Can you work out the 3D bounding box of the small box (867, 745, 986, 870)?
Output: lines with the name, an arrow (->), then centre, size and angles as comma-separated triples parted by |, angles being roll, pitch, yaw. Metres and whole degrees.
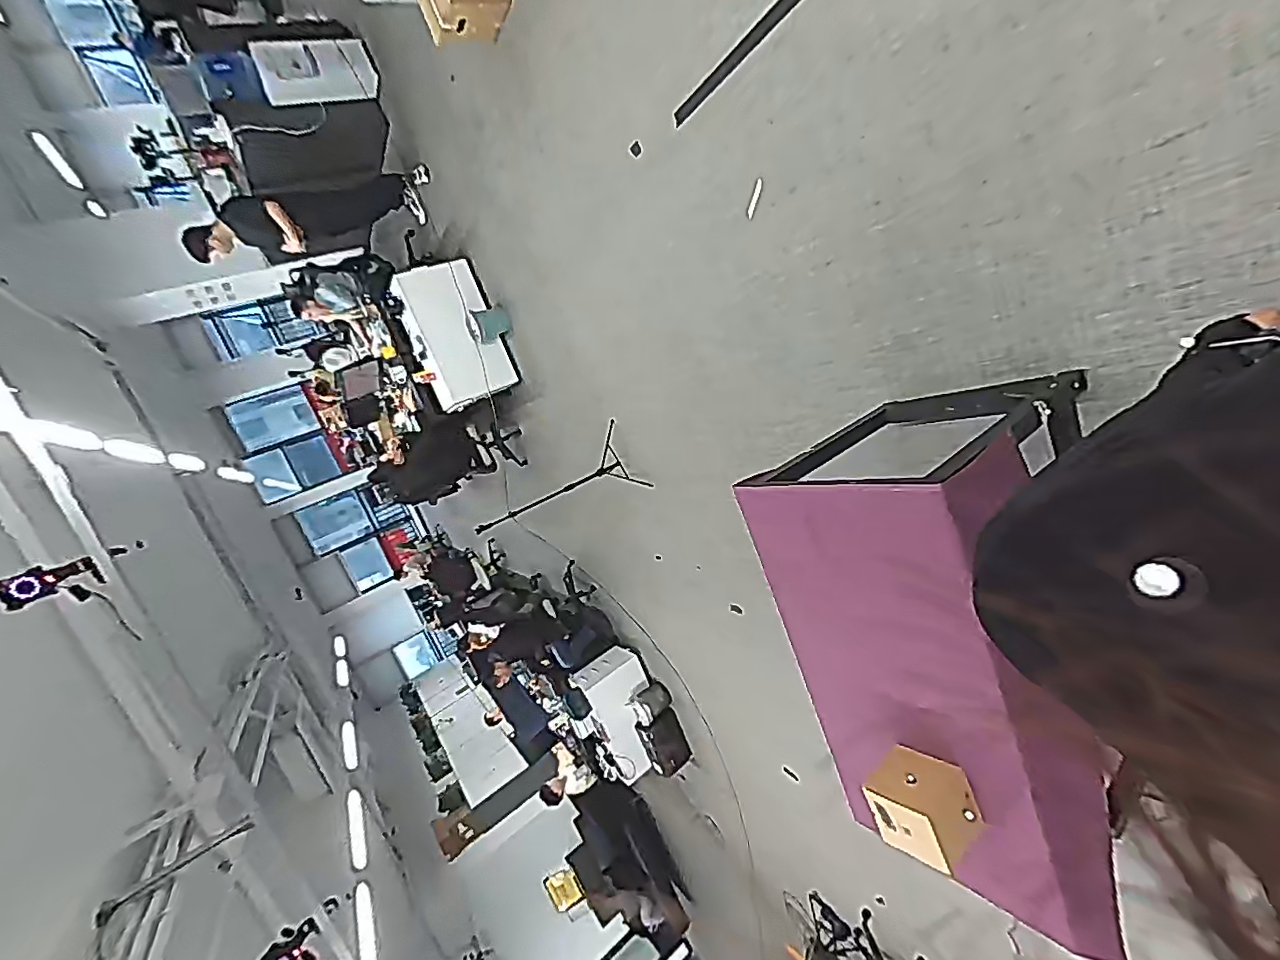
small box -> 0.704, 0.788, 1.327 | 0.179, 0.176, 0.168 | -11, 105, 60
